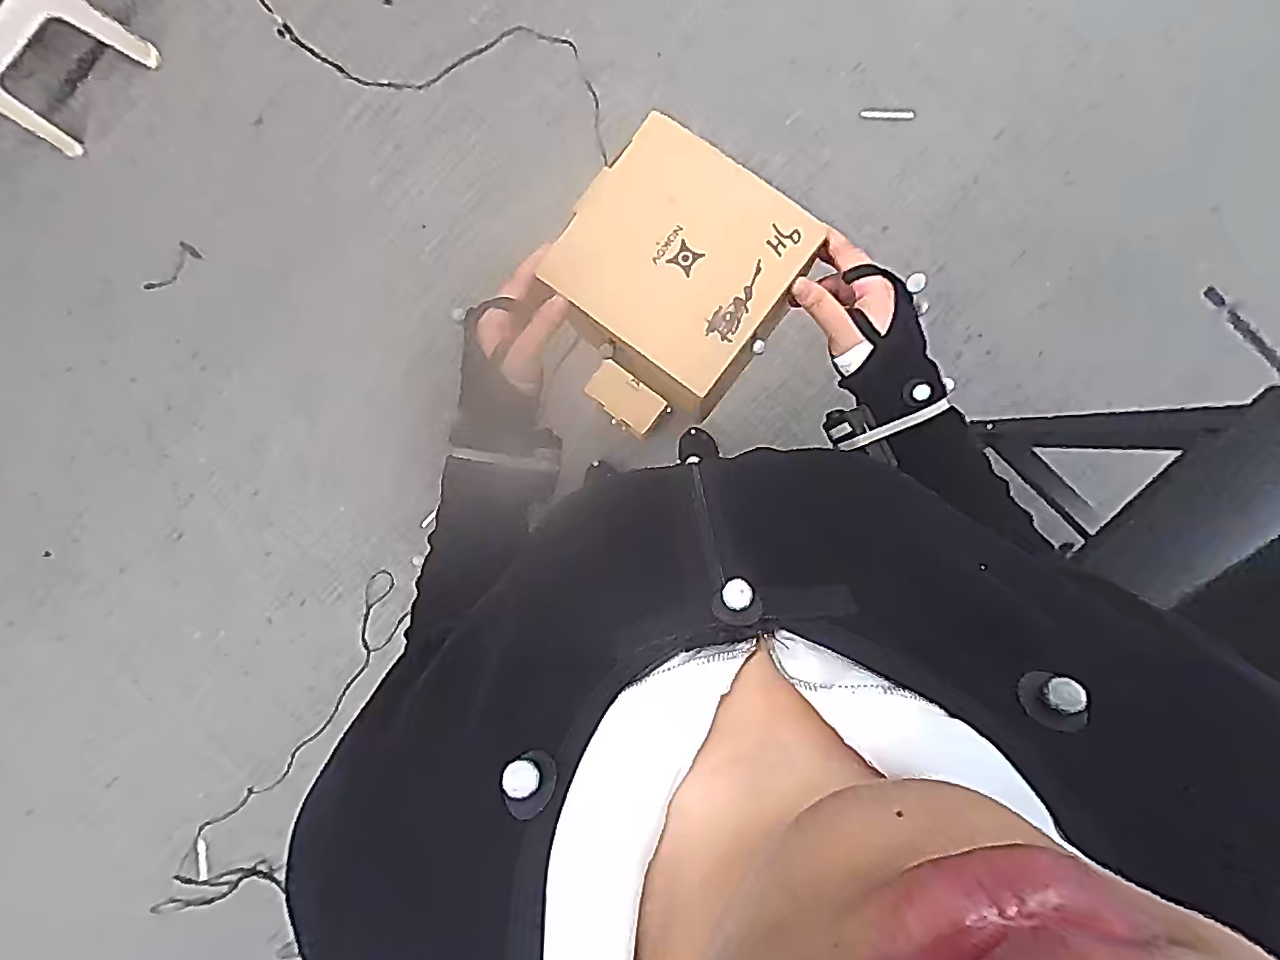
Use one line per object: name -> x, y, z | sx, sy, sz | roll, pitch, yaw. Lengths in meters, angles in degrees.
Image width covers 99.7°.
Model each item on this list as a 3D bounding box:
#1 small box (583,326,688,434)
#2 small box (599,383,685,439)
small box -> -0.007, -0.220, 1.247 | 0.168, 0.176, 0.179 | 37, 93, -1
small box -> -0.004, -0.225, 1.409 | 0.168, 0.176, 0.179 | 40, 95, -1
